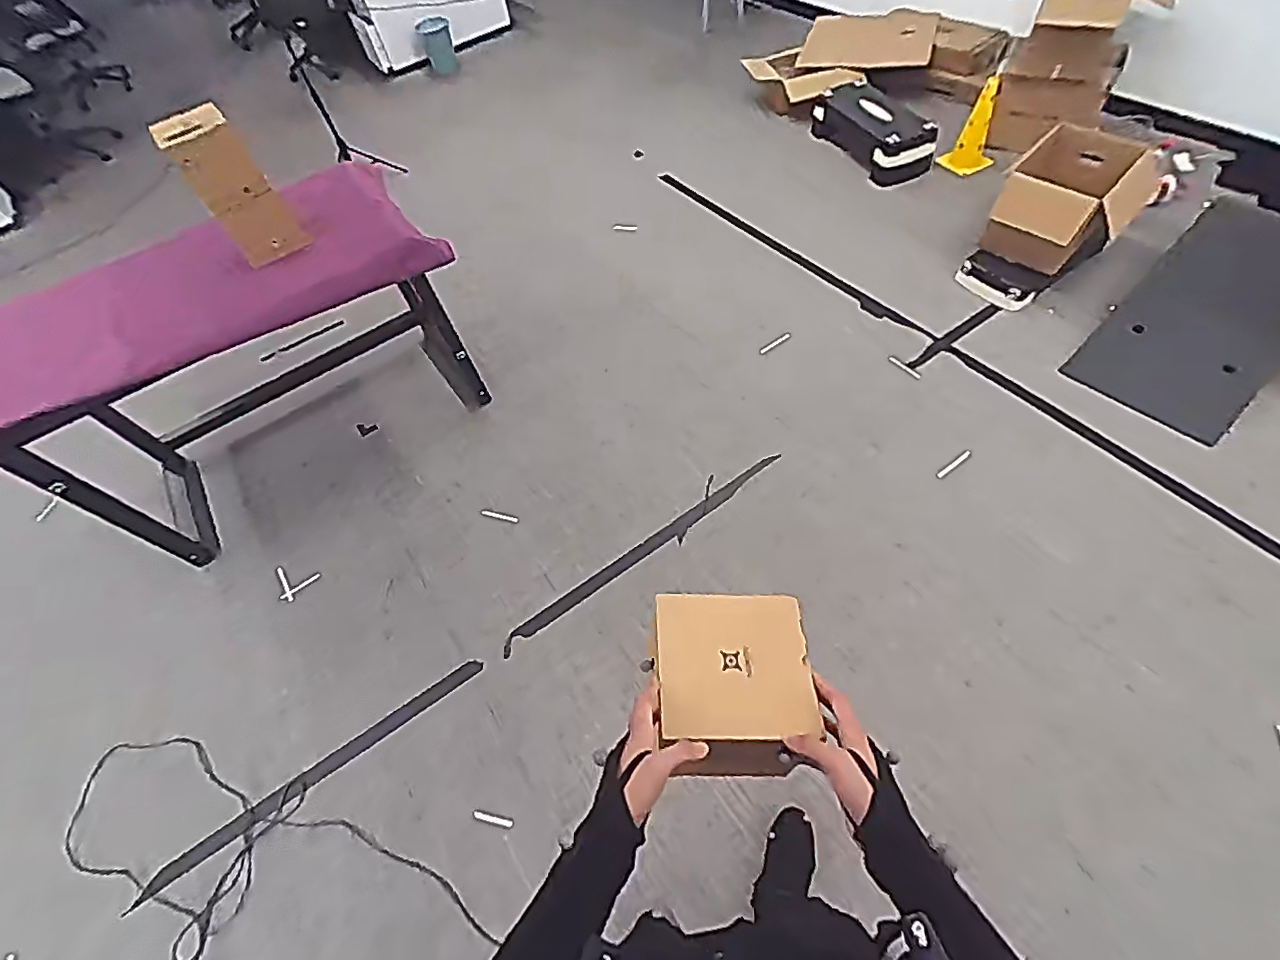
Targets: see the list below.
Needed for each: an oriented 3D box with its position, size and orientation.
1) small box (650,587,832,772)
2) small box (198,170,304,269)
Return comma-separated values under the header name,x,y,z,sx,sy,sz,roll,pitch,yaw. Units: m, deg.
name,x,y,z,sx,sy,sz,roll,pitch,yaw
small box,0.103,0.245,0.653,0.179,0.176,0.168,2,50,-4
small box,-1.104,-0.745,1.553,0.179,0.176,0.168,-36,60,-15
